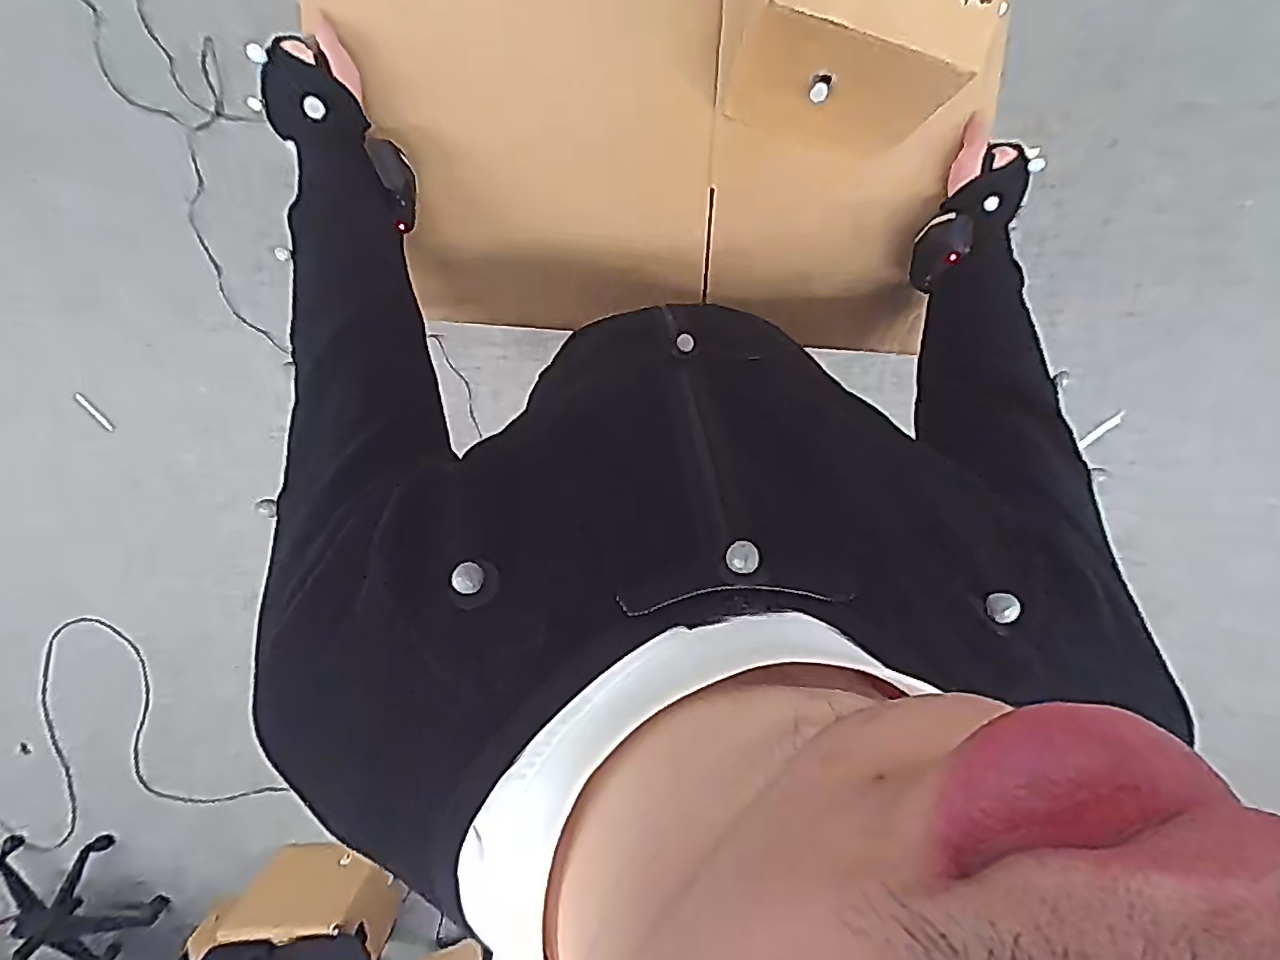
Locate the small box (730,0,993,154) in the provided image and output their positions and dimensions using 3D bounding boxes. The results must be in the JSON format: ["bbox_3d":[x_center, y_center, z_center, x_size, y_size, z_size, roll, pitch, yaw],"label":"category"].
[{"bbox_3d":[0.194,-0.428,0.486,0.179,0.176,0.168,14,99,-5],"label":"small box"}]
